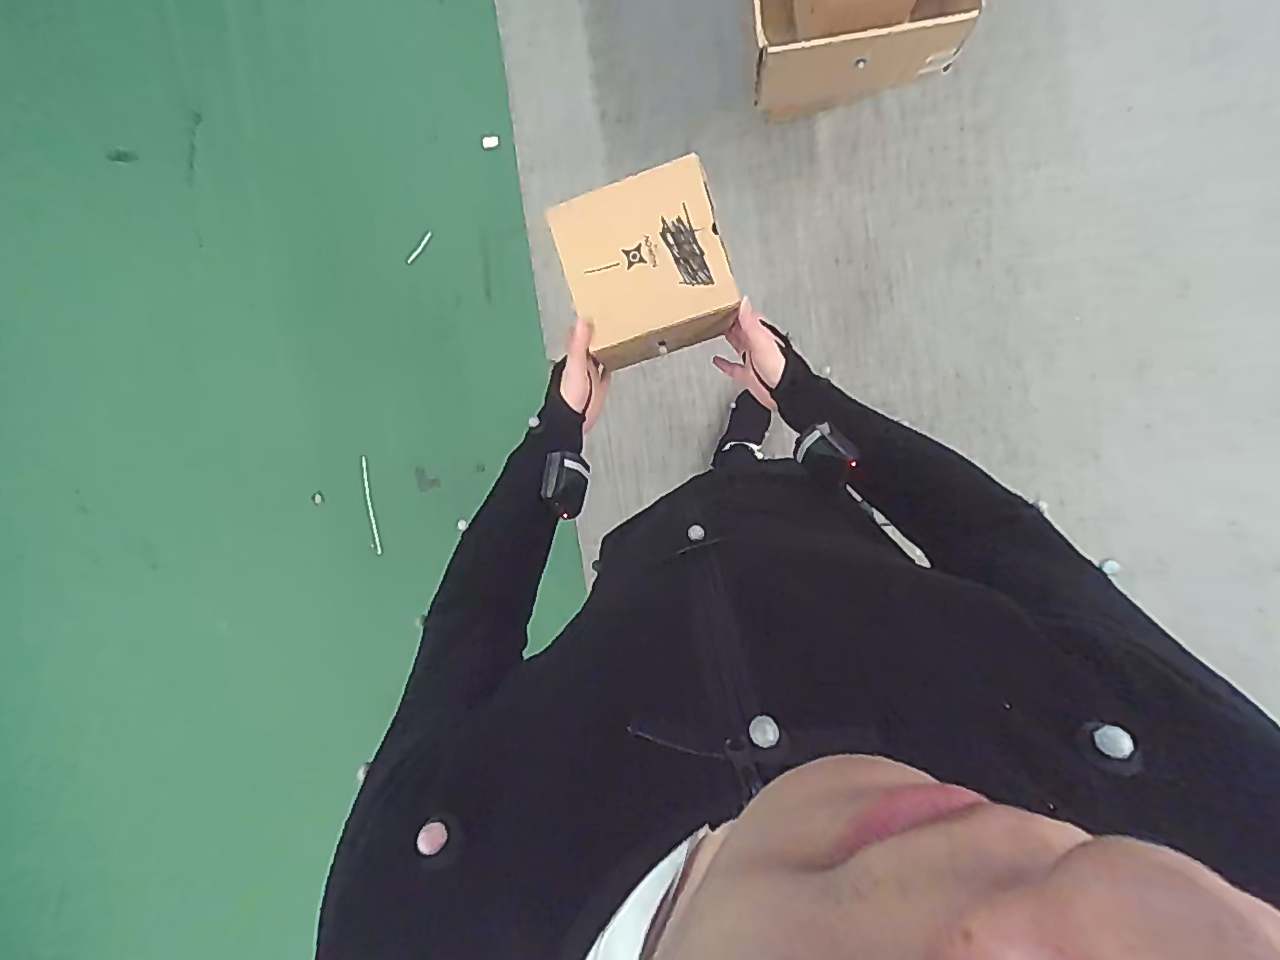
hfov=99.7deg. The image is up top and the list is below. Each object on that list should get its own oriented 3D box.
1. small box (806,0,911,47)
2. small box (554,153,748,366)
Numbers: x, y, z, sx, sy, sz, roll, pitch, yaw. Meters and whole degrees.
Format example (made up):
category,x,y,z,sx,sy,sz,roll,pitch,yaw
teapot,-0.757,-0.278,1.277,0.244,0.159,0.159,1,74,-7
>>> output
category,x,y,z,sx,sy,sz,roll,pitch,yaw
small box,0.418,-0.966,1.014,0.179,0.176,0.168,-7,93,6
small box,0.016,-0.251,0.659,0.179,0.176,0.168,-17,92,5
